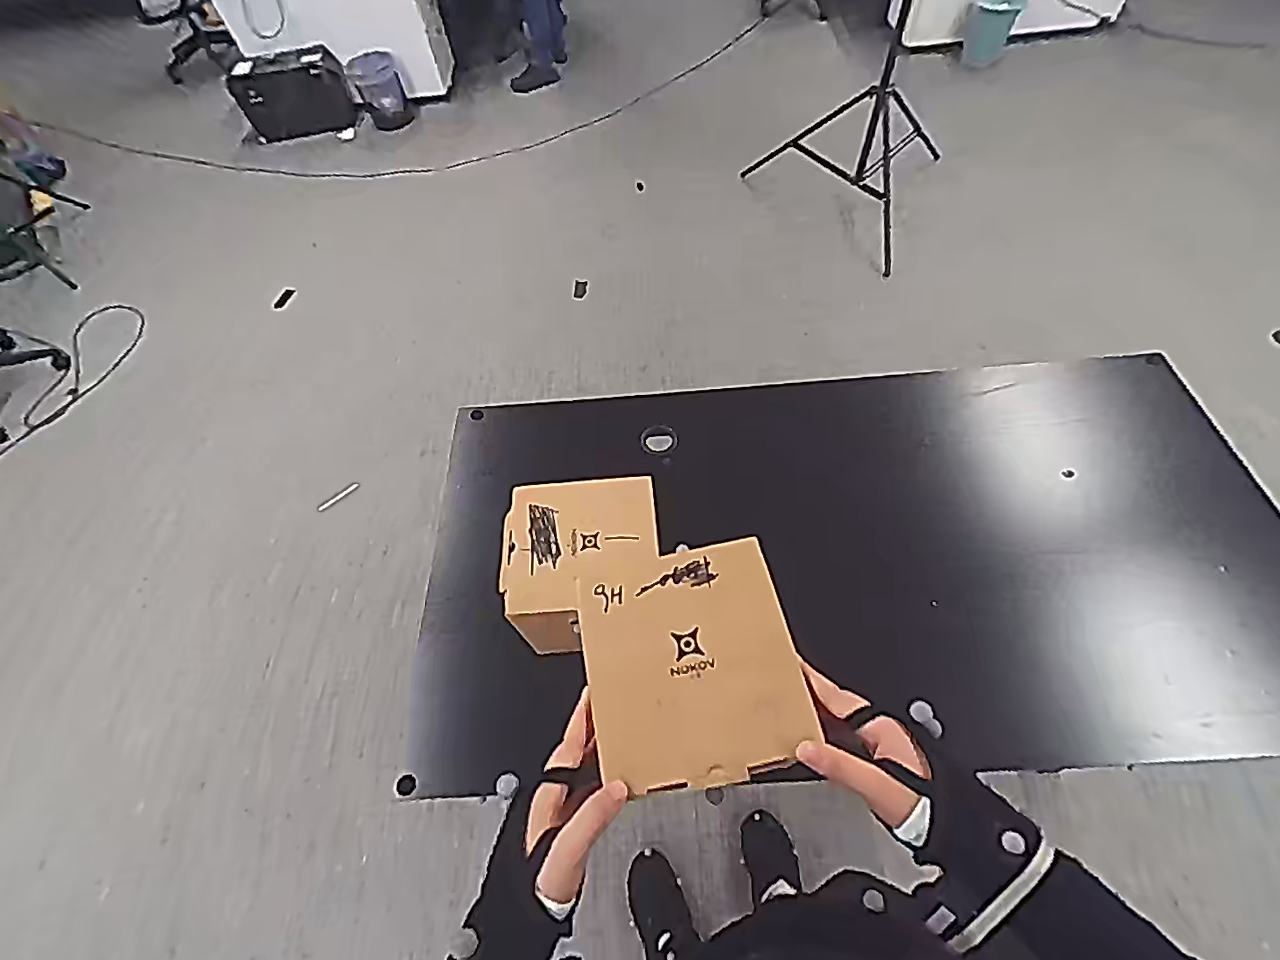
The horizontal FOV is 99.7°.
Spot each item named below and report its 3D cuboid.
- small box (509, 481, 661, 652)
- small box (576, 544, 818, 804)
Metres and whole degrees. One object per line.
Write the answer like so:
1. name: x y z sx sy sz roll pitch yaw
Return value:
1. small box: -0.060 0.119 0.708 0.179 0.176 0.168 -5 58 0
2. small box: 0.045 0.183 0.505 0.168 0.176 0.179 -12 61 -2
